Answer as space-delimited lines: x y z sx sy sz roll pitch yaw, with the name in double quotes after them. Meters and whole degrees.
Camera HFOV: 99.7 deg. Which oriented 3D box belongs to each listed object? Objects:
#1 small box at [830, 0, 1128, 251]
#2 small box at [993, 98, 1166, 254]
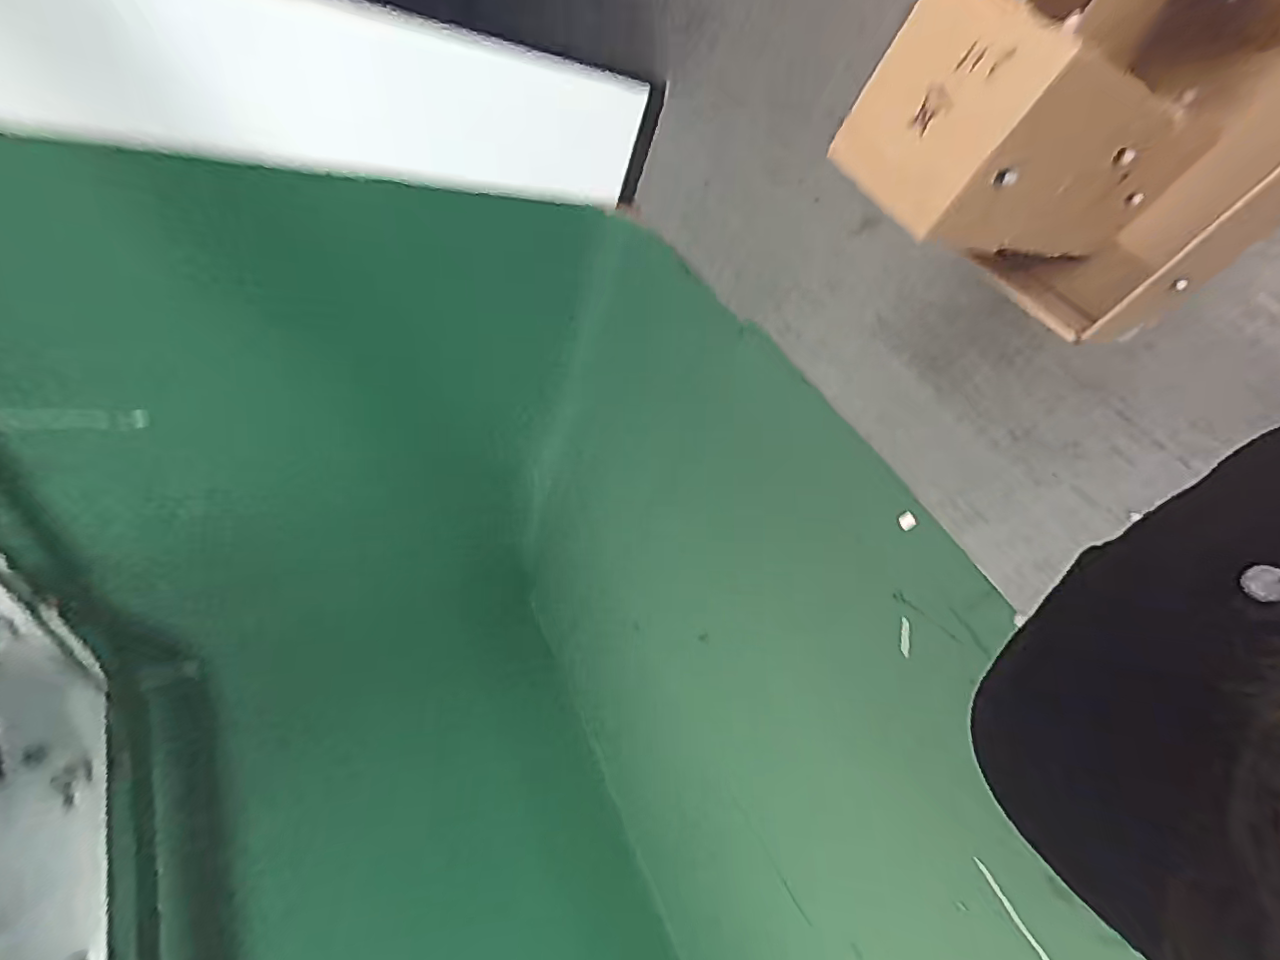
0.349 -0.365 0.570 0.168 0.176 0.179 60 141 24 "small box"
0.479 -0.399 0.665 0.179 0.176 0.168 59 141 27 "small box"
